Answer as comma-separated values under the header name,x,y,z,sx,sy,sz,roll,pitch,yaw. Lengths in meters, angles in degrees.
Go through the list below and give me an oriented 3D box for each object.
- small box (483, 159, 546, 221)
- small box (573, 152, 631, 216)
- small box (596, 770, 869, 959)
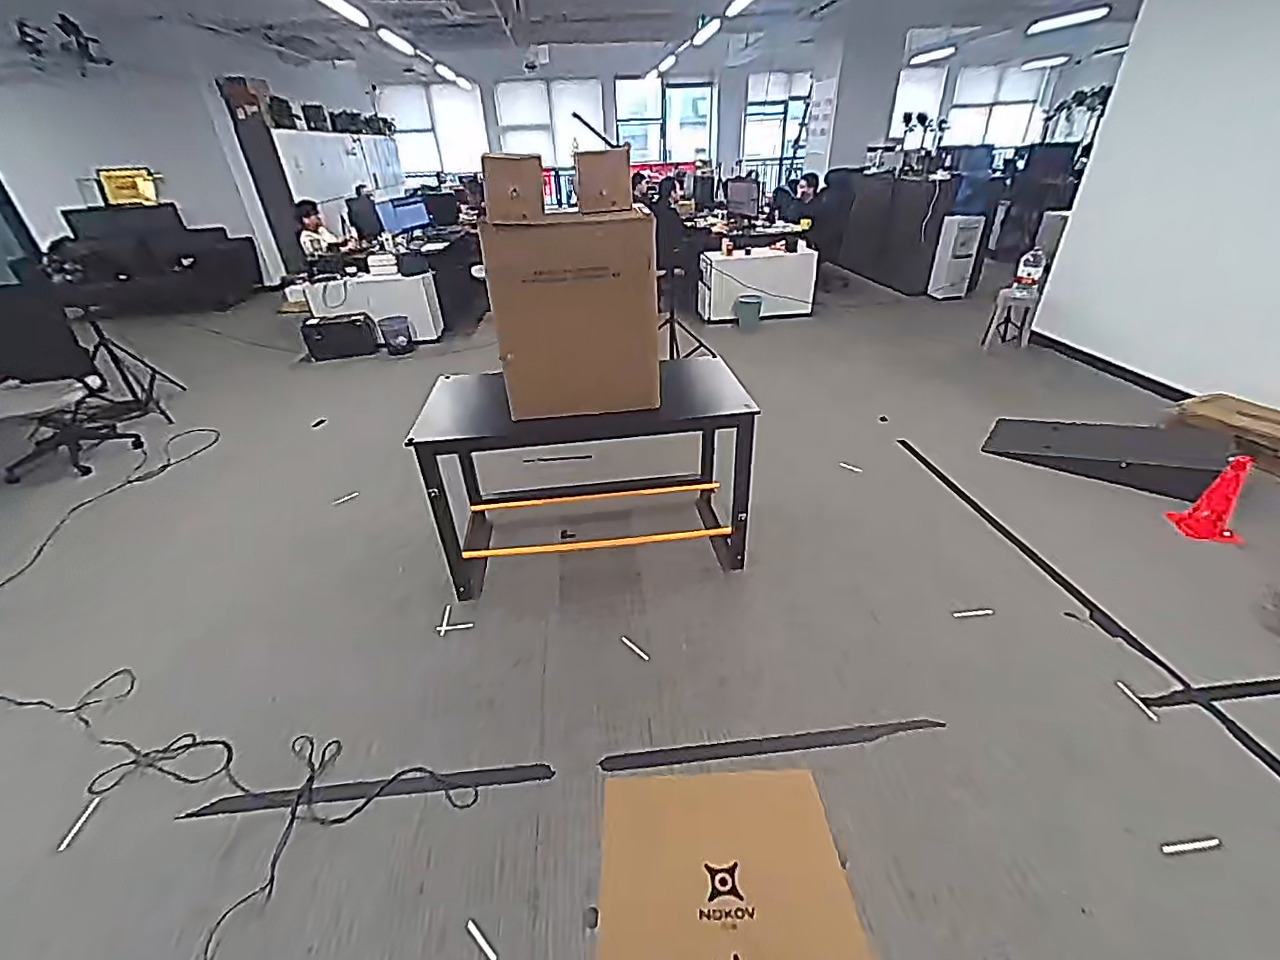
name,x,y,z,sx,sy,sz,roll,pitch,yaw
small box,-0.397,-0.929,1.732,0.168,0.176,0.179,-7,32,-6
small box,-0.123,-0.950,1.737,0.168,0.176,0.179,-8,31,-6
small box,0.059,0.344,0.389,0.168,0.176,0.179,-4,26,1
